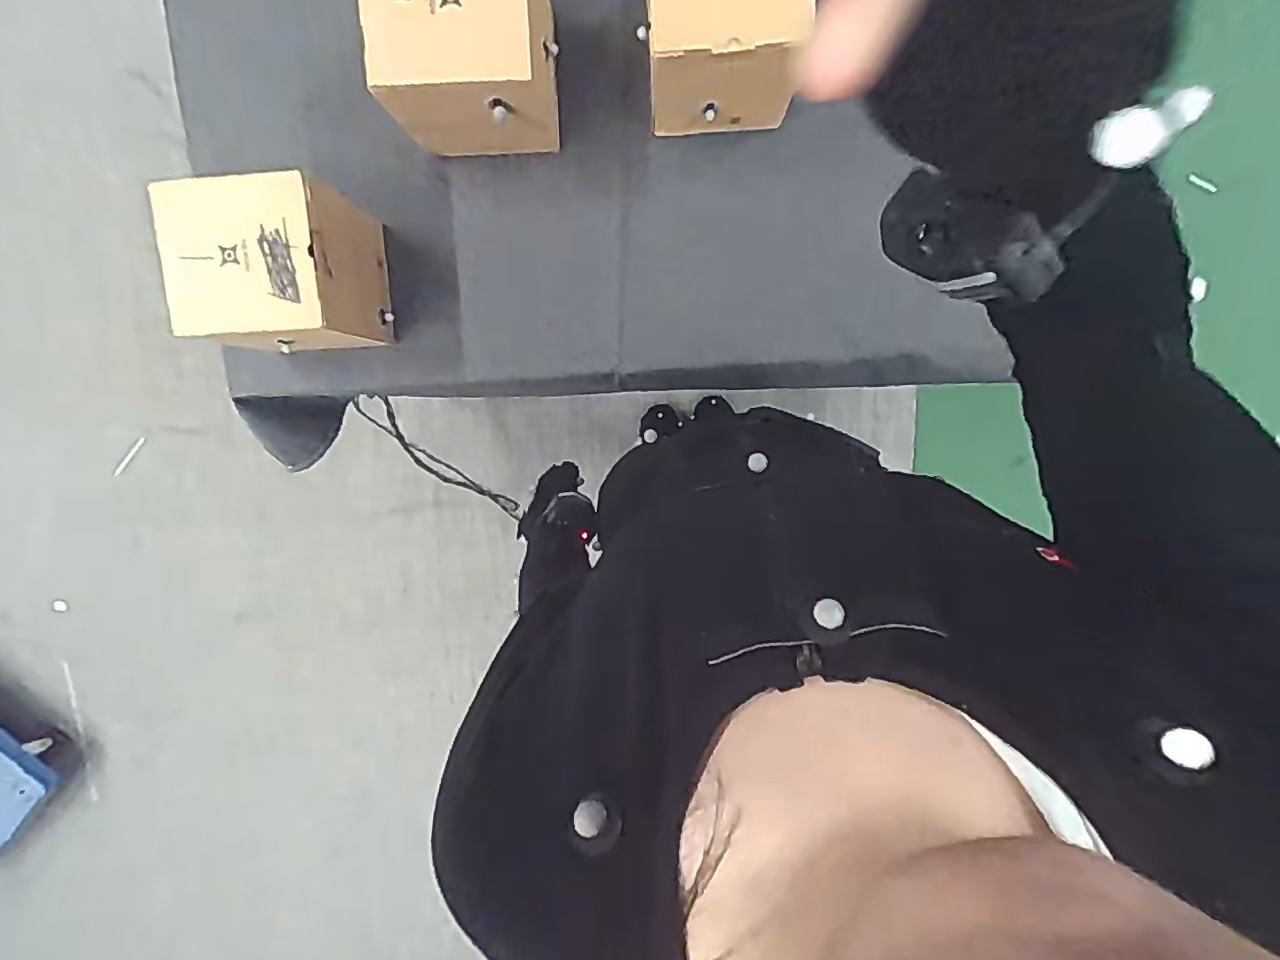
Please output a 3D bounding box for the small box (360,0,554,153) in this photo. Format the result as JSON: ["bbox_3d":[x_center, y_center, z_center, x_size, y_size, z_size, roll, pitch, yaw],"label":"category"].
[{"bbox_3d":[-0.197,-0.500,0.624,0.179,0.176,0.168,-1,99,1],"label":"small box"}]

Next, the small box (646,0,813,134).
[{"bbox_3d":[0.091,-0.530,0.616,0.168,0.176,0.179,-3,99,2],"label":"small box"}]

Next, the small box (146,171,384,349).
[{"bbox_3d":[-0.437,-0.256,0.665,0.179,0.176,0.168,-3,97,2],"label":"small box"}]
